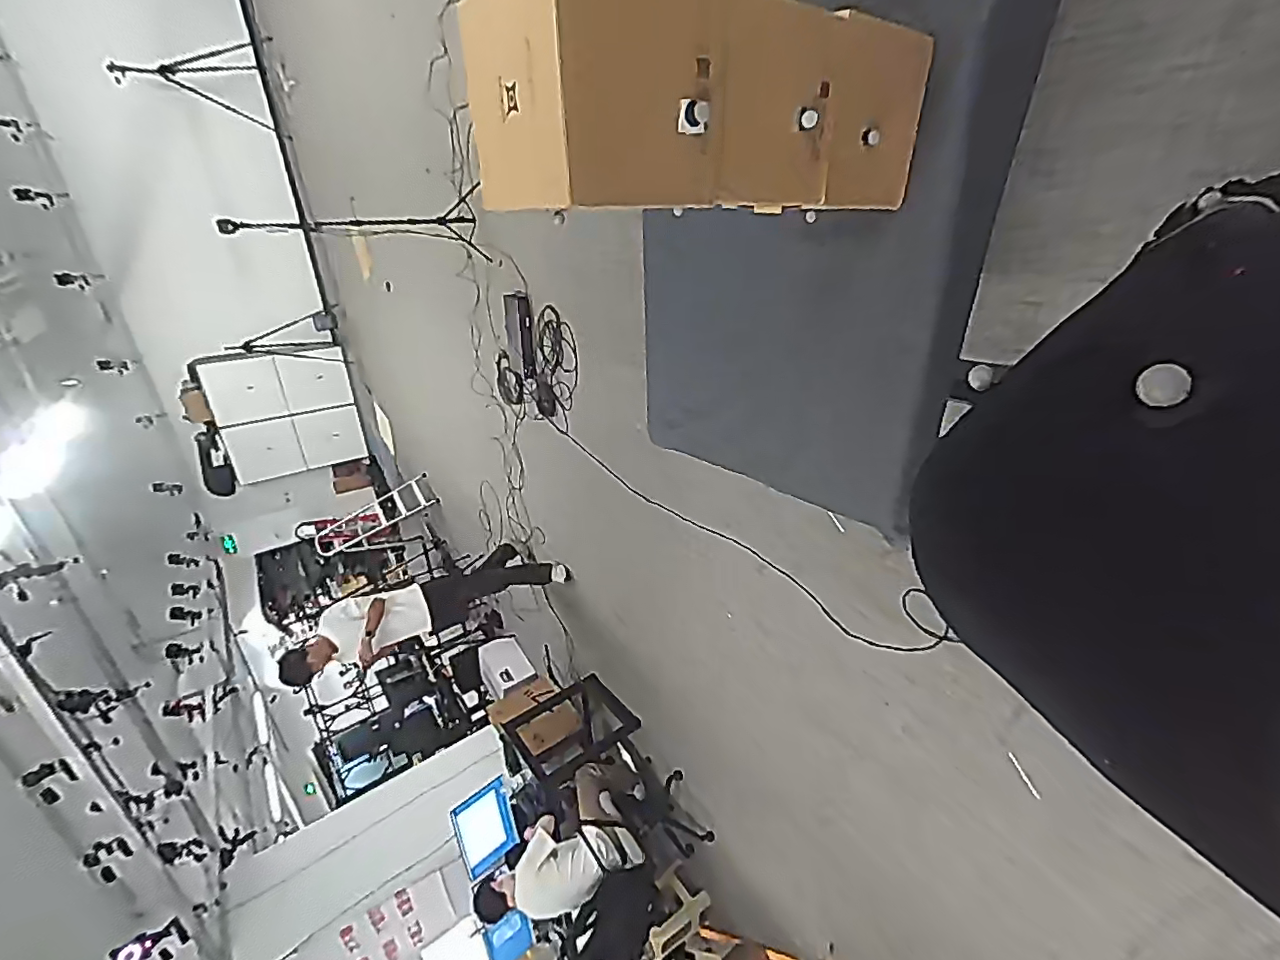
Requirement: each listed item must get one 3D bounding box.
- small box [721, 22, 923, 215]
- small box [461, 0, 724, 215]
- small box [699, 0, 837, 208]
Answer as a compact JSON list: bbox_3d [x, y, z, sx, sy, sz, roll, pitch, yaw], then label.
[{"bbox_3d":[0.220,-0.433,0.673,0.168,0.176,0.179,32,132,46],"label":"small box"},{"bbox_3d":[-0.044,-0.341,0.506,0.179,0.176,0.168,29,131,46],"label":"small box"},{"bbox_3d":[0.082,-0.393,0.593,0.179,0.176,0.168,31,130,49],"label":"small box"}]
